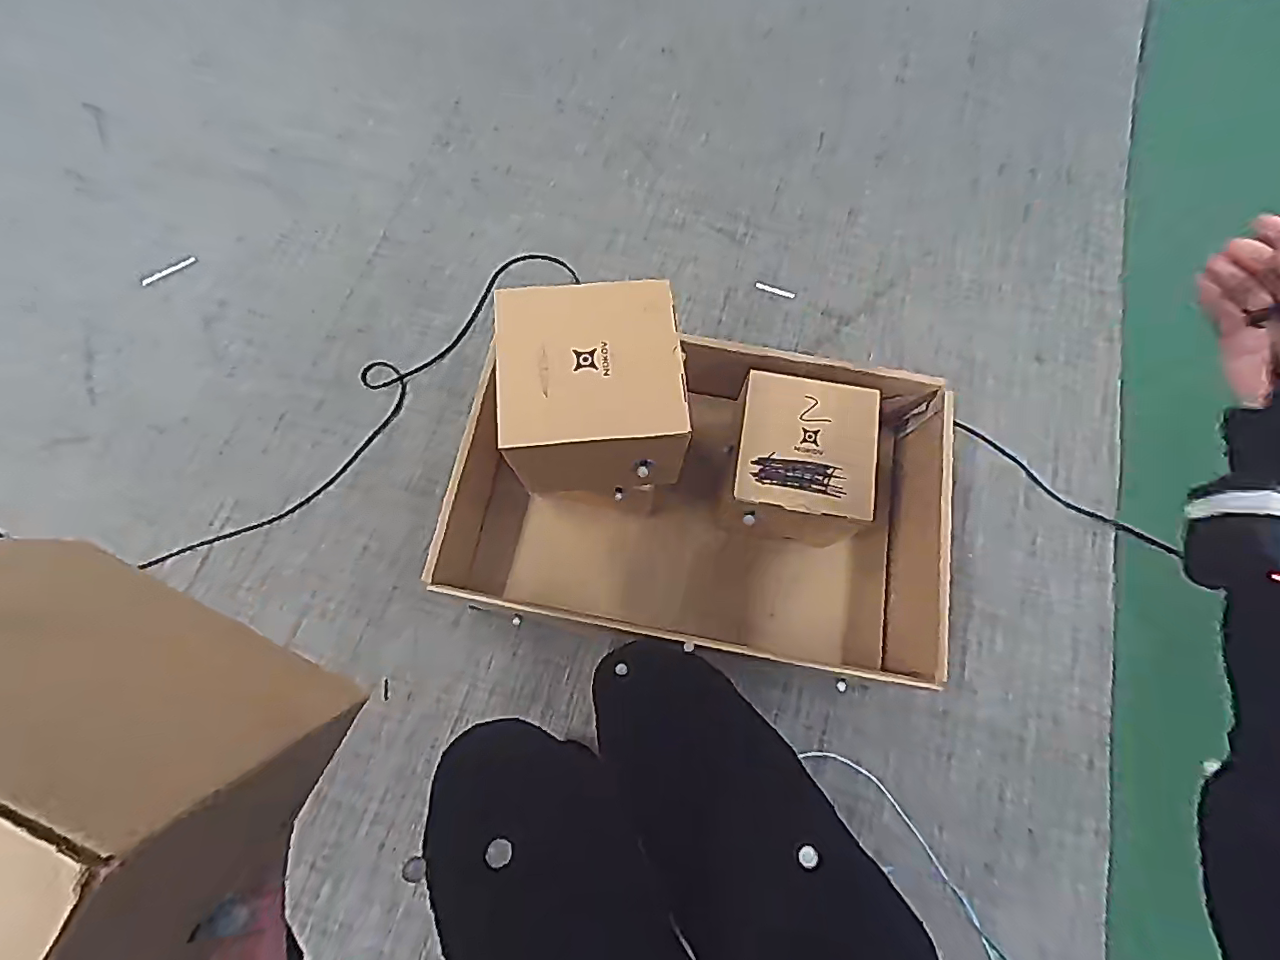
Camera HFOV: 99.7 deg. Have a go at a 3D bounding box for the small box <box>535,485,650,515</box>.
[{"bbox_3d":[-0.062,-0.058,0.743,0.179,0.176,0.168,12,74,0],"label":"small box"}]

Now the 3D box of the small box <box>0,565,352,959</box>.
[{"bbox_3d":[-0.256,0.140,0.202,0.179,0.176,0.168,30,81,-2],"label":"small box"}]

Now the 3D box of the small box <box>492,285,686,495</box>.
[{"bbox_3d":[-0.052,-0.086,0.583,0.179,0.176,0.168,-5,75,-2],"label":"small box"}]
